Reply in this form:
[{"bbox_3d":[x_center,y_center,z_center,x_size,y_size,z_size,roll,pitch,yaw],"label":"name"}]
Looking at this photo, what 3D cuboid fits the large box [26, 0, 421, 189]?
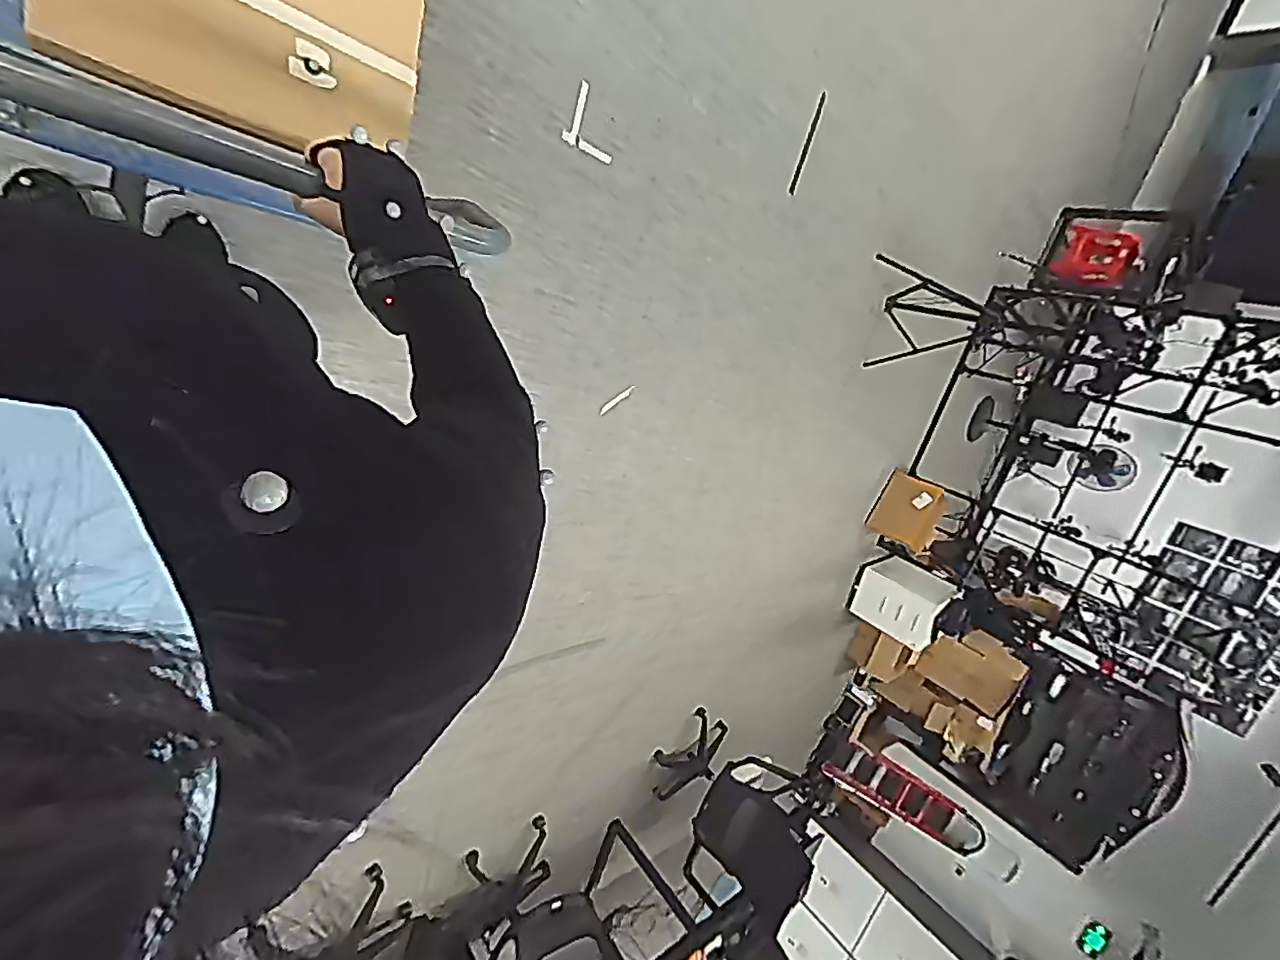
[{"bbox_3d":[-0.597,-0.663,0.796,0.408,0.320,0.320,1,112,-44],"label":"large box"}]
